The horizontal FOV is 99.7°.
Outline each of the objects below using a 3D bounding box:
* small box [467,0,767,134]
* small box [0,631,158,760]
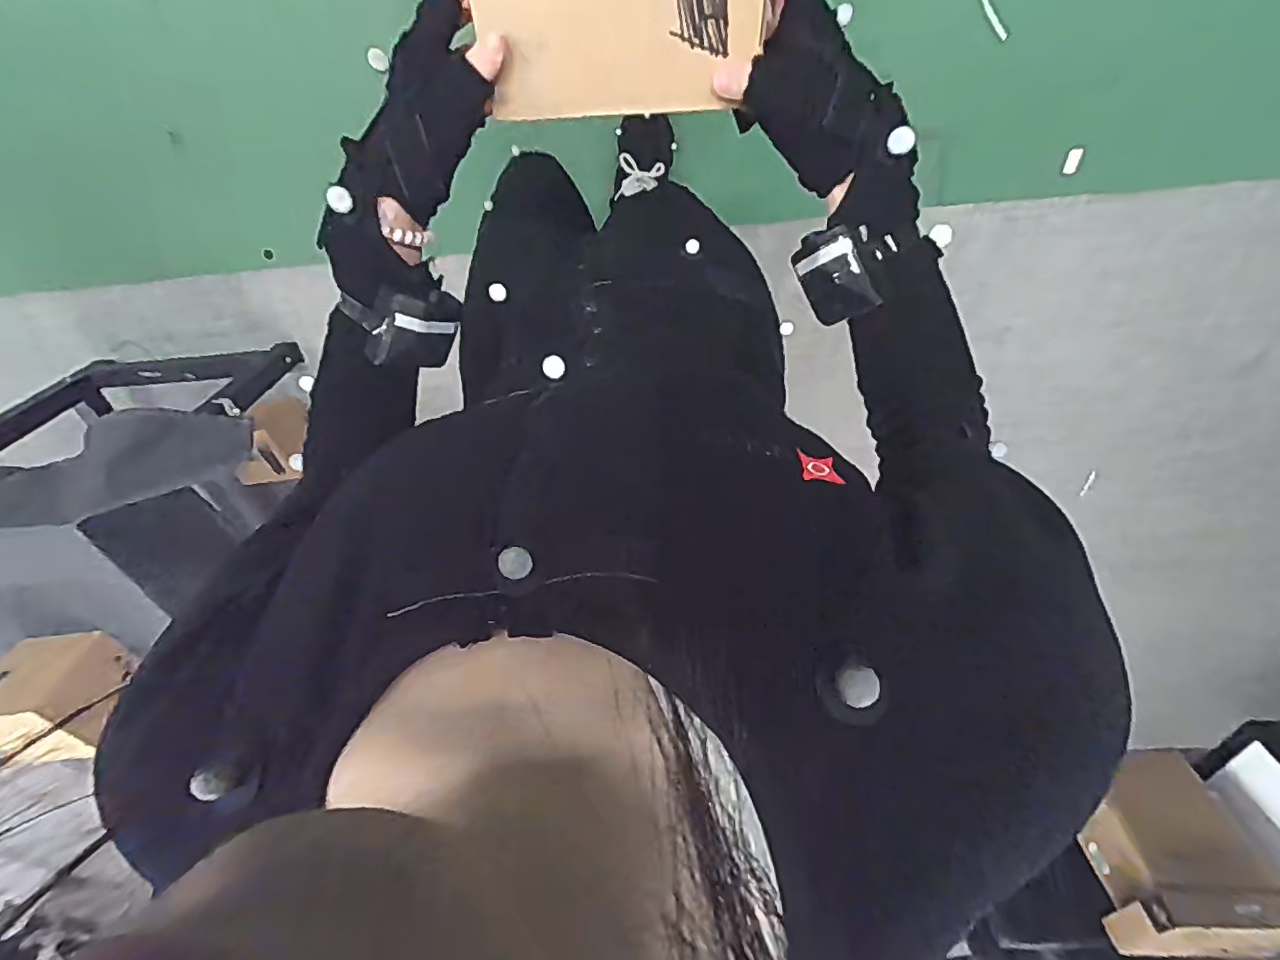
[{"bbox_3d":[-0.019,-0.346,0.350,0.179,0.176,0.168,-4,138,-2],"label":"small box"},{"bbox_3d":[-1.096,0.408,1.029,0.179,0.176,0.168,-6,130,5],"label":"small box"}]
